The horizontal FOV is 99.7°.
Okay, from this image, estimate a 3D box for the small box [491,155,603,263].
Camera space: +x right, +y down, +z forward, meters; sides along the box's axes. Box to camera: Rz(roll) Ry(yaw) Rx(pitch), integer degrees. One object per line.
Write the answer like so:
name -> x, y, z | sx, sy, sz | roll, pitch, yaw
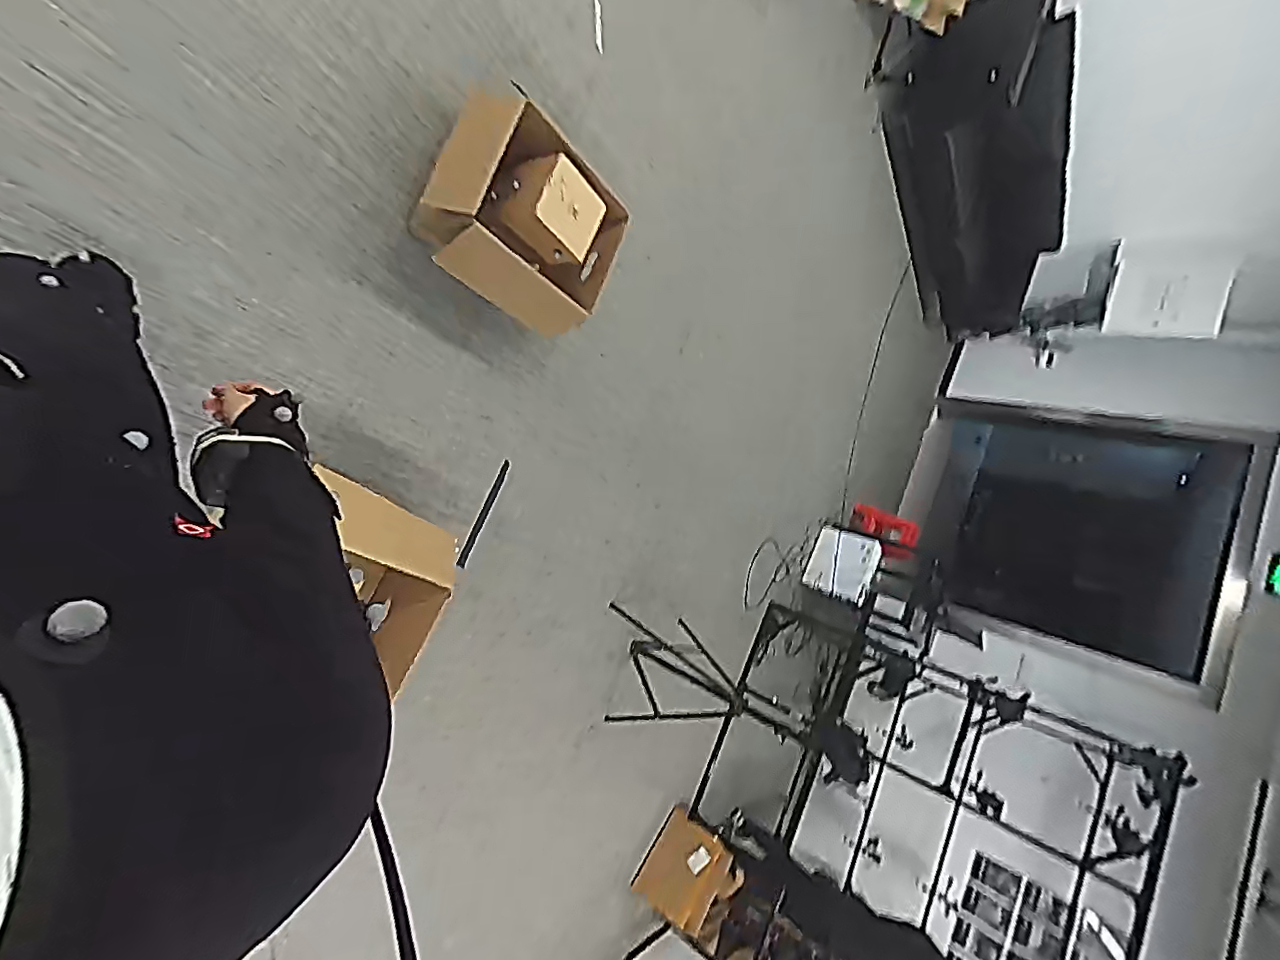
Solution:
small box -> -0.231, -0.663, 1.341 | 0.179, 0.176, 0.168 | 33, 76, -50
